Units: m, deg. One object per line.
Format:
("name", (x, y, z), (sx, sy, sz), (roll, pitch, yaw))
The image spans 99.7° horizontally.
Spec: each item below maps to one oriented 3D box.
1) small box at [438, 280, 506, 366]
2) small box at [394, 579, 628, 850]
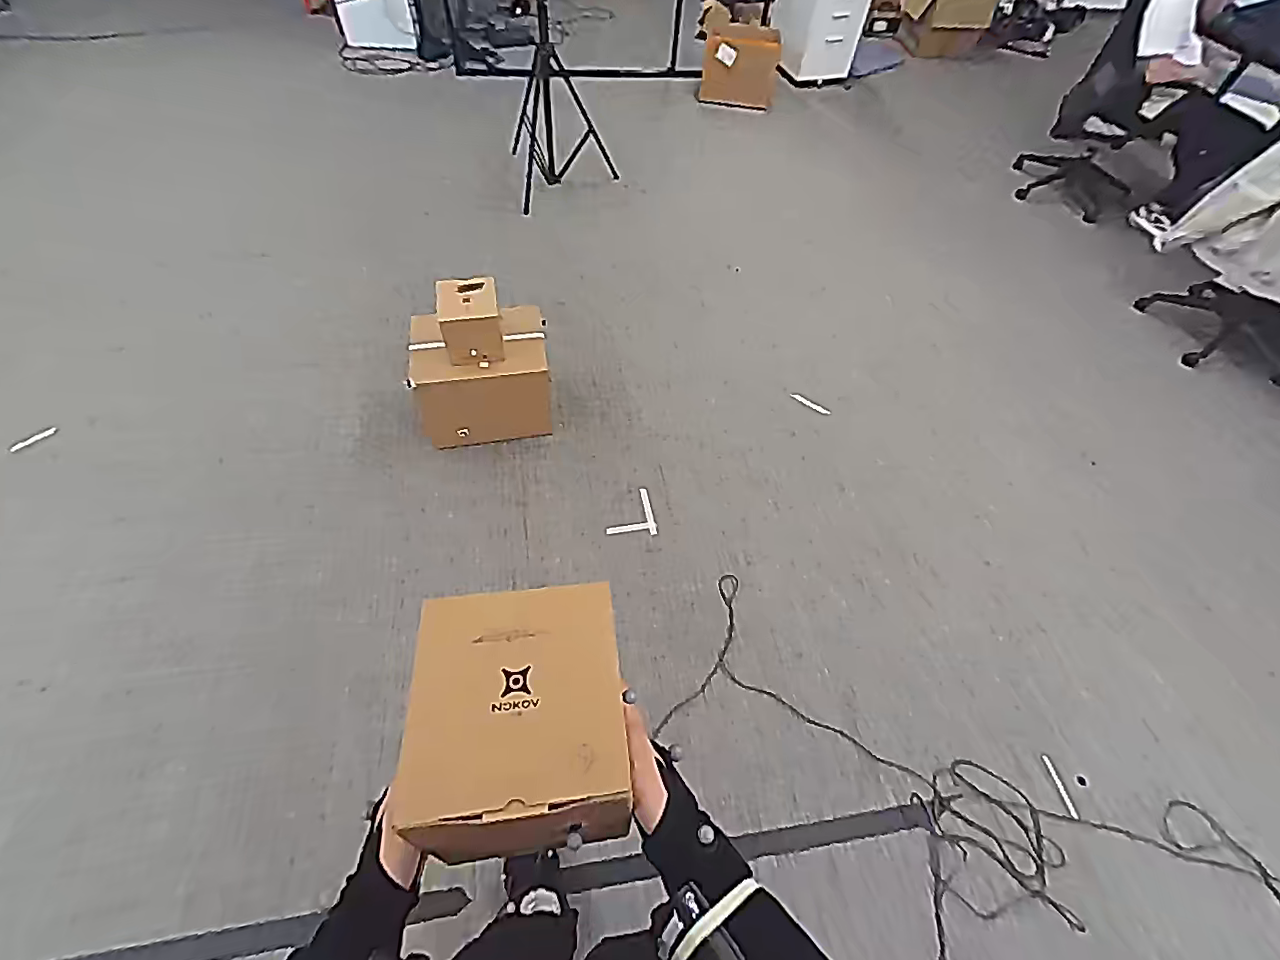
("small box", (-0.494, -0.464, 1.599), (0.168, 0.176, 0.179), (-9, 58, -10))
("small box", (-0.101, 0.214, 0.487), (0.168, 0.176, 0.179), (-5, 48, -8))
